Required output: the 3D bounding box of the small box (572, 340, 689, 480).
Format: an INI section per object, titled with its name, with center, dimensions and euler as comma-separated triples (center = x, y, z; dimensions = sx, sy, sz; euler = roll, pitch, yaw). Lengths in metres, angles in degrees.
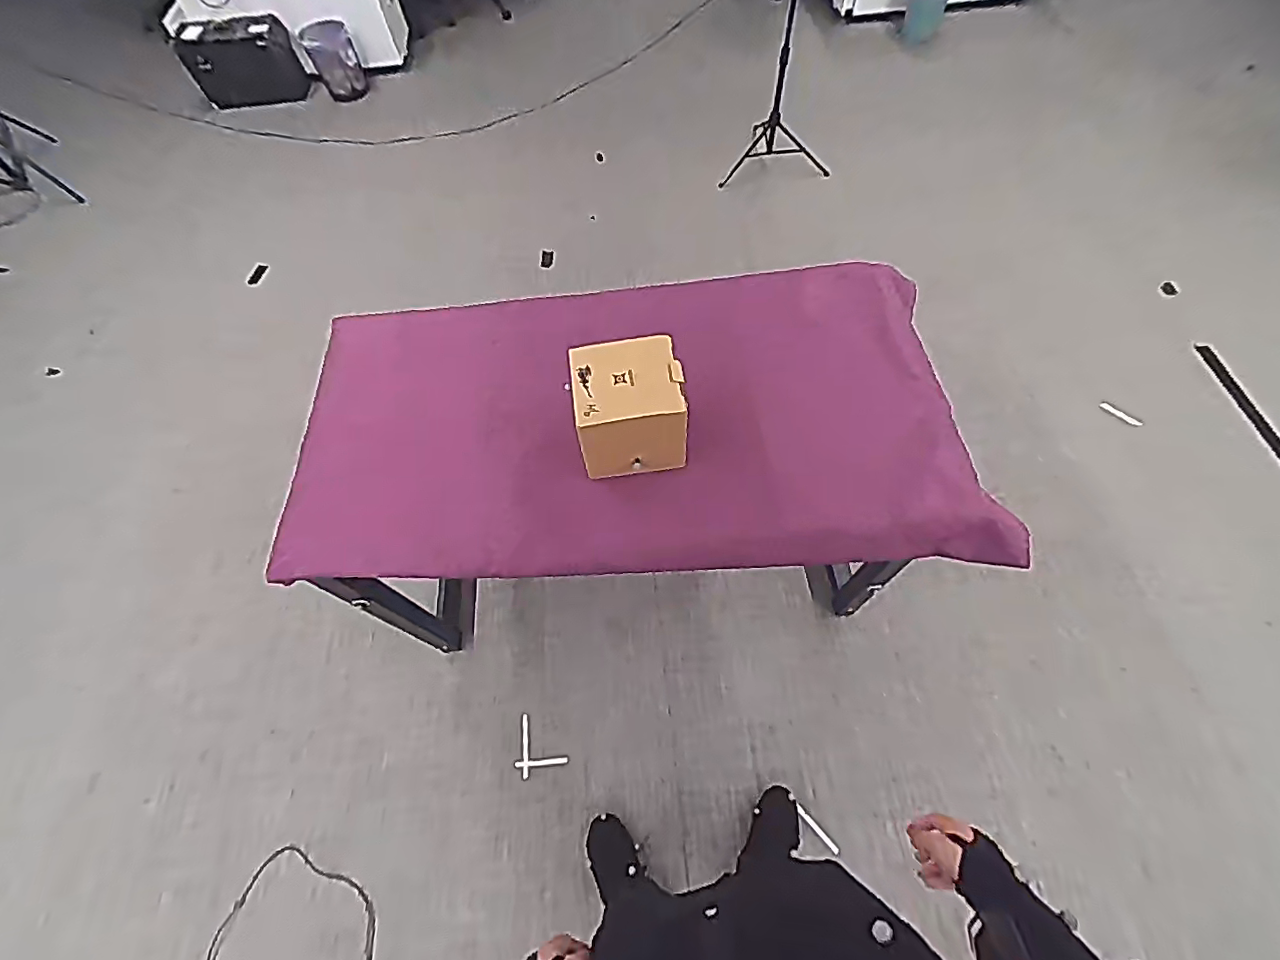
[small box]
center = -0.018, -0.116, 0.938
dimensions = 0.179, 0.176, 0.168
euler = -8, 59, -2
